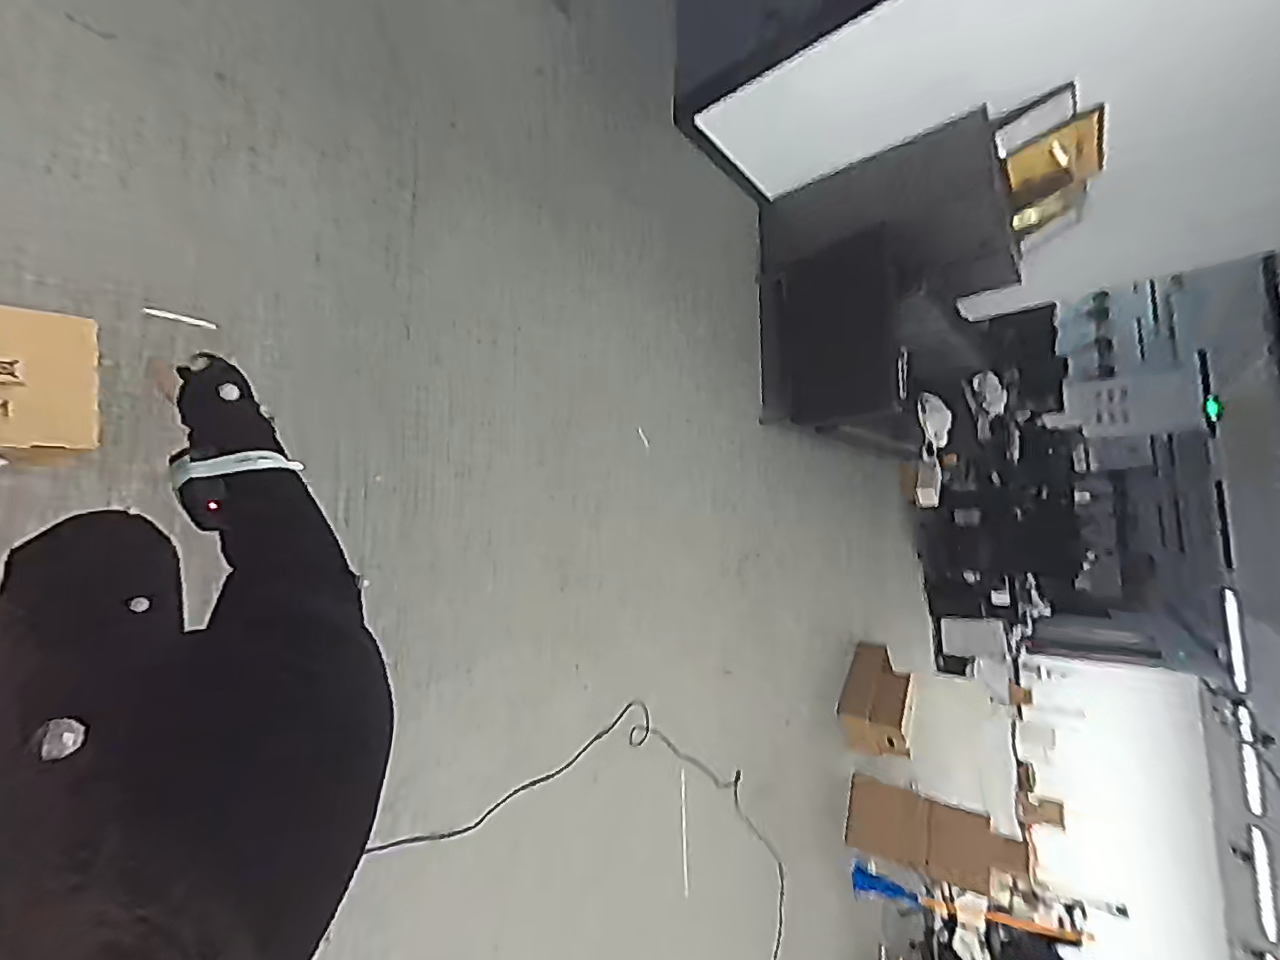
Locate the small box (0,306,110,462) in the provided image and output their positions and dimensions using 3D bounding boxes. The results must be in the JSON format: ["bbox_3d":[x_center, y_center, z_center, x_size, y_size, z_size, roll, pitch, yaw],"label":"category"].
[{"bbox_3d":[-0.829,-0.120,0.717,0.168,0.176,0.179,0,86,-49],"label":"small box"}]
